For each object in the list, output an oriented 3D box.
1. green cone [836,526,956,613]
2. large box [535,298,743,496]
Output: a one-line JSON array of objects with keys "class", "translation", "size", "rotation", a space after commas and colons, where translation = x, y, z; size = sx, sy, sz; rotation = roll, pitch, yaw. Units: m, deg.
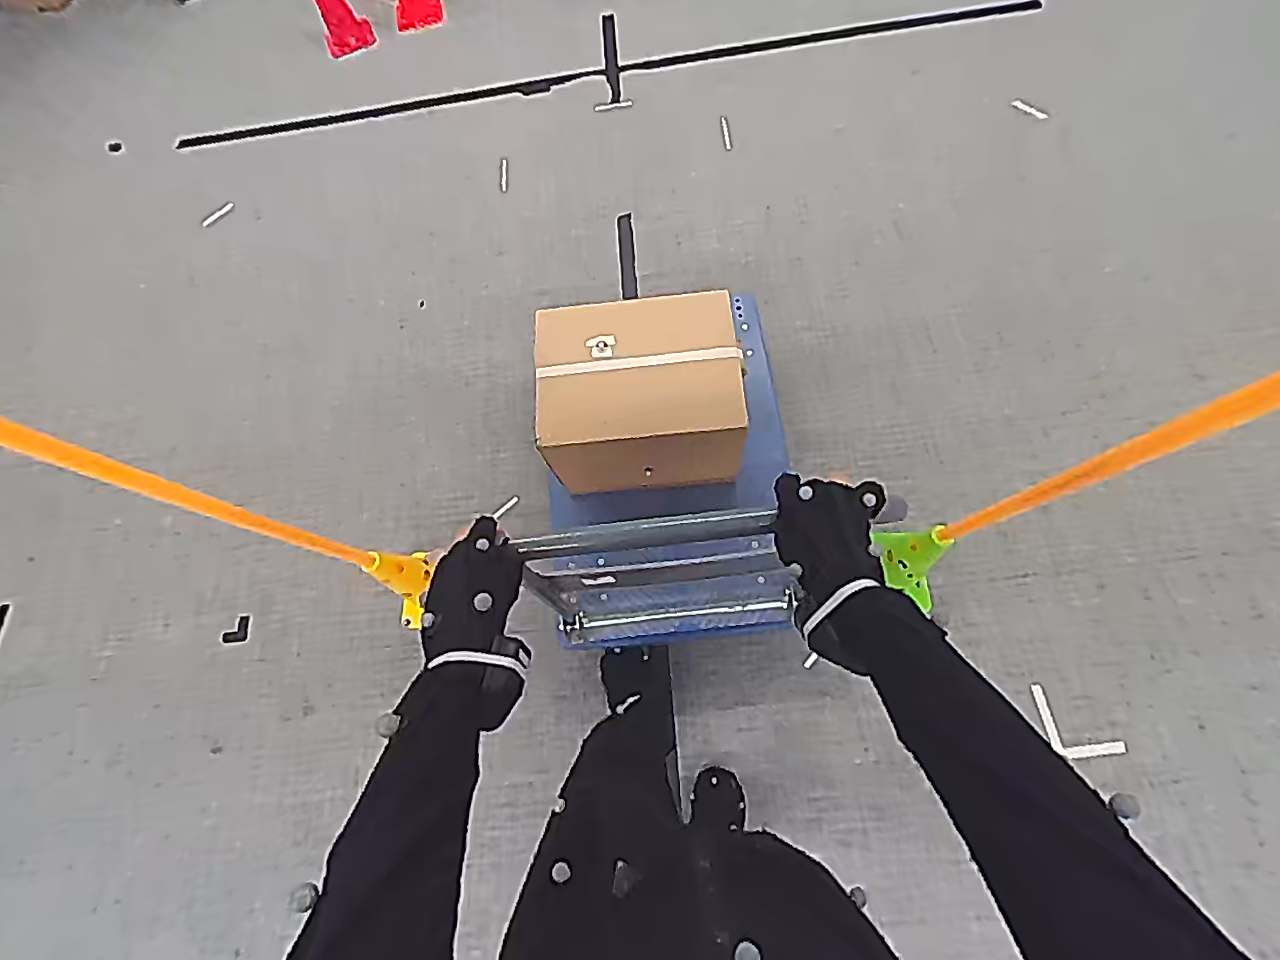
[{"class": "green cone", "translation": [0.588, 0.172, 1.192], "size": [0.202, 0.368, 0.200], "rotation": [-3, 70, 4]}, {"class": "large box", "translation": [0.003, -0.166, 1.221], "size": [0.408, 0.320, 0.320], "rotation": [-6, 70, 5]}]
